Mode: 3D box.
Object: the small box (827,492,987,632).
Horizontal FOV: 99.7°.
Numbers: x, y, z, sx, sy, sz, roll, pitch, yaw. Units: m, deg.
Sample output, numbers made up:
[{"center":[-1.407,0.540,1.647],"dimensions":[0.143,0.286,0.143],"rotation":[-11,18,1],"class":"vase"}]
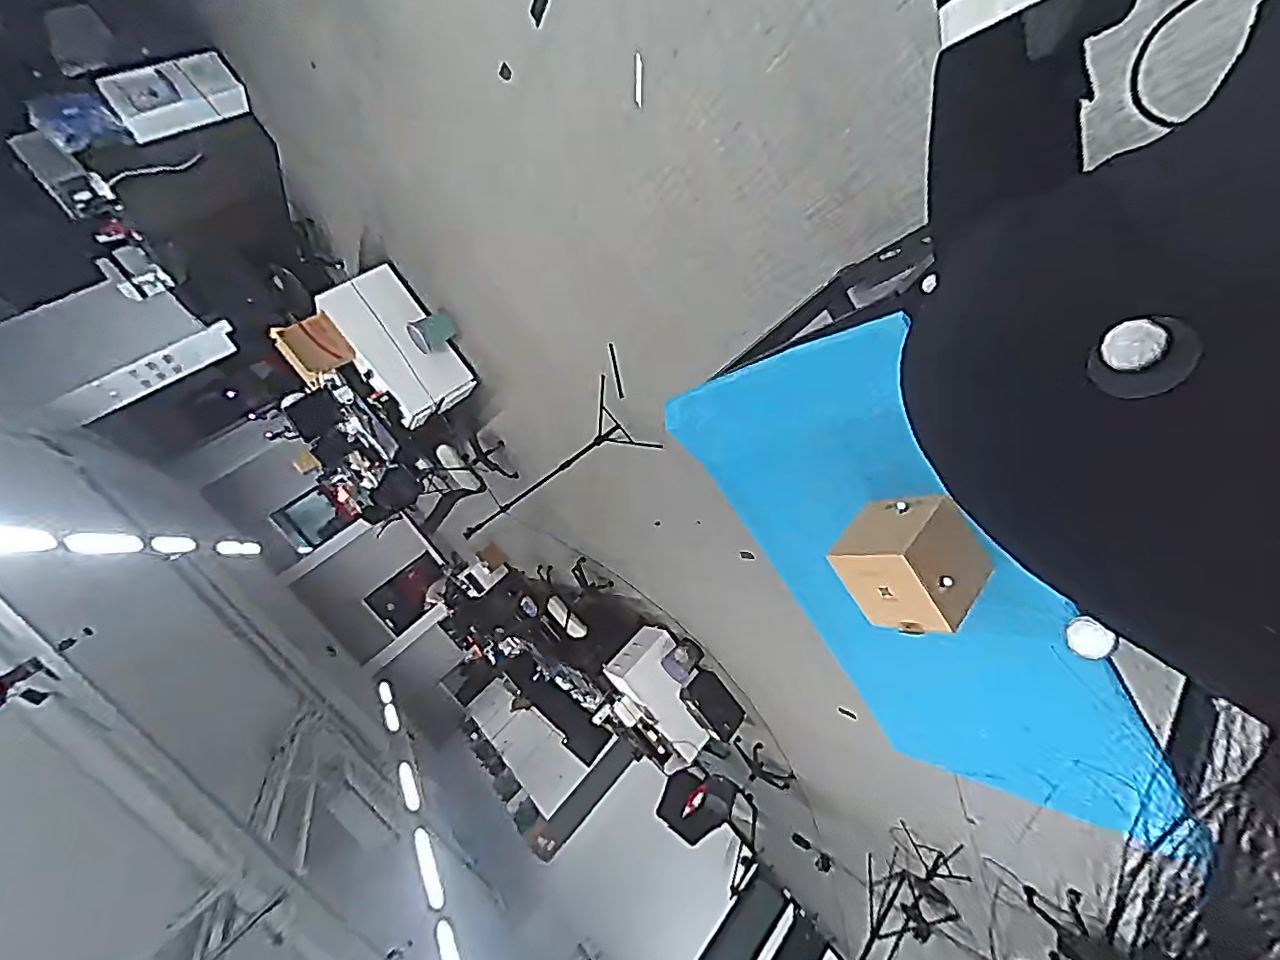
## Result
[{"center":[0.487,0.144,0.982],"dimensions":[0.179,0.176,0.168],"rotation":[54,154,-11],"class":"small box"}]
